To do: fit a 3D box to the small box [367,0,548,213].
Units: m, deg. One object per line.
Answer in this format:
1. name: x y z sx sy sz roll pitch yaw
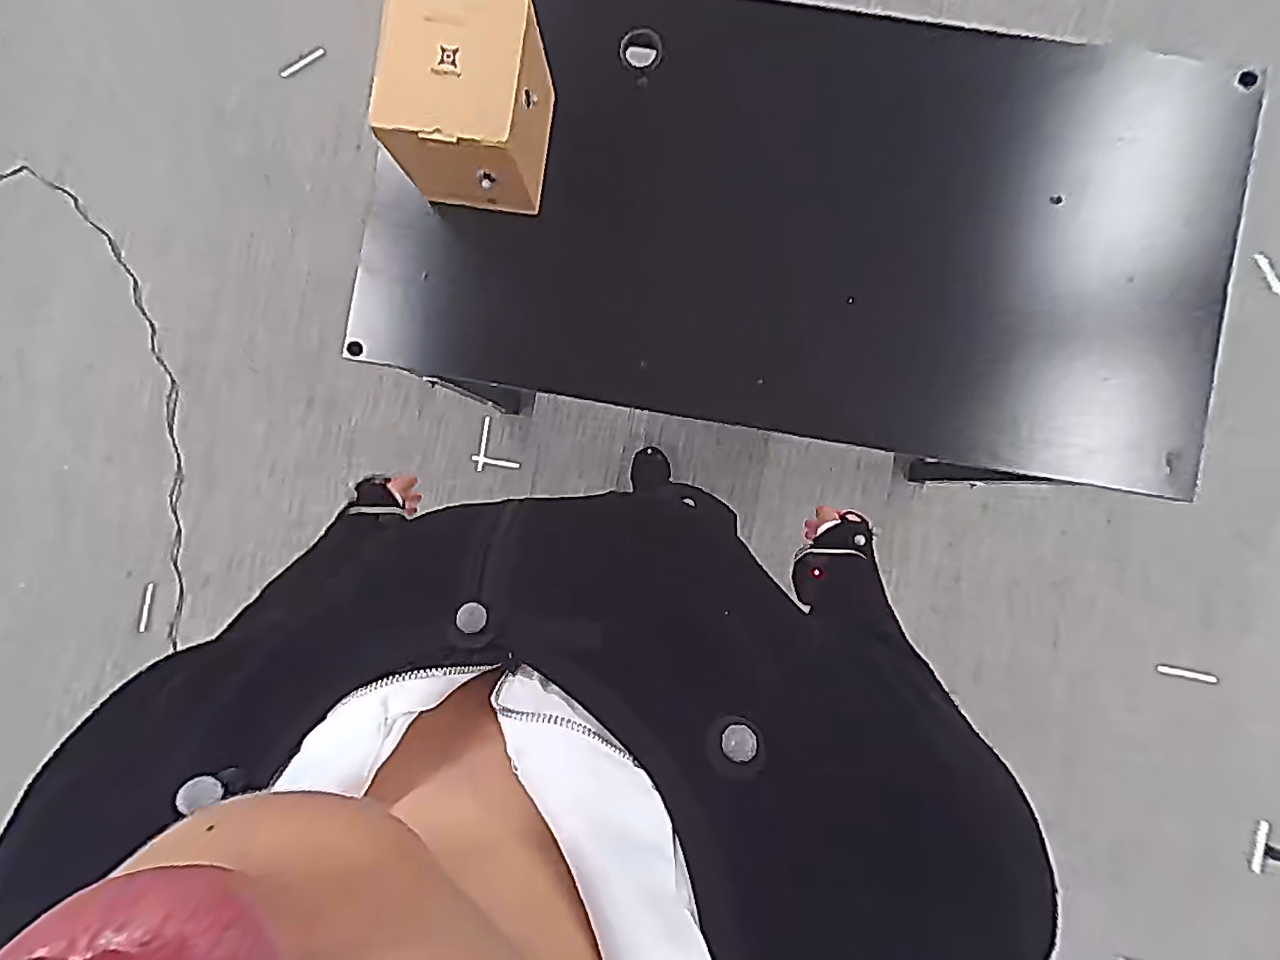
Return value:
1. small box: -0.222 -0.476 0.701 0.168 0.176 0.179 8 89 0
